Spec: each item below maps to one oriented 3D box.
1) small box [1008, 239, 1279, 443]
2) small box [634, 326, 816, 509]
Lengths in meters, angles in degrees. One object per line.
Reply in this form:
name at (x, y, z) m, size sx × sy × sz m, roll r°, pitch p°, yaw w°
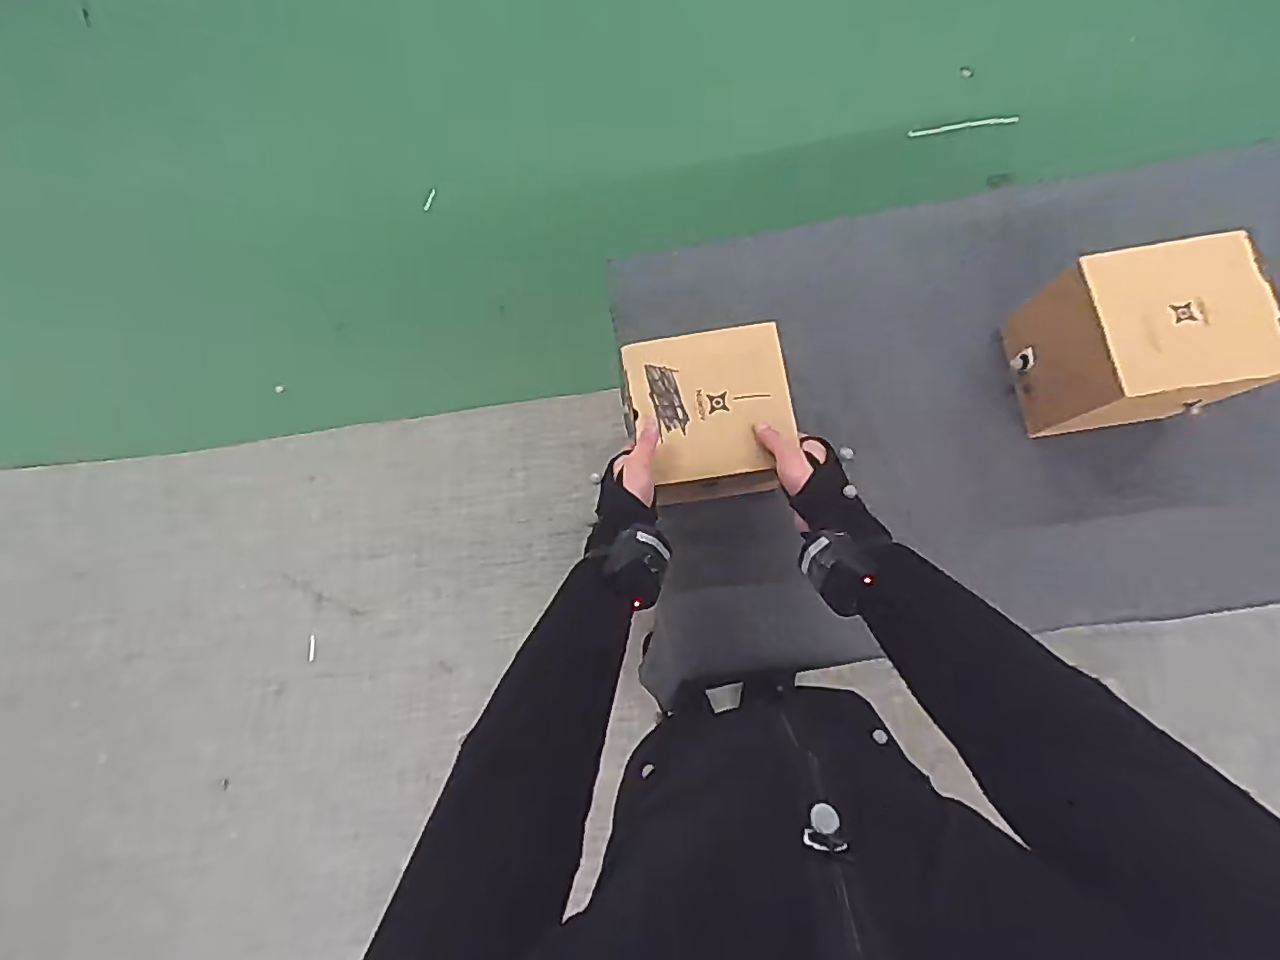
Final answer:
small box at (0.590, -0.151, 0.643) m, size 0.179 × 0.176 × 0.168 m, roll -9°, pitch 78°, yaw 3°
small box at (0.093, -0.064, 0.656) m, size 0.179 × 0.176 × 0.168 m, roll -8°, pitch 80°, yaw 1°
